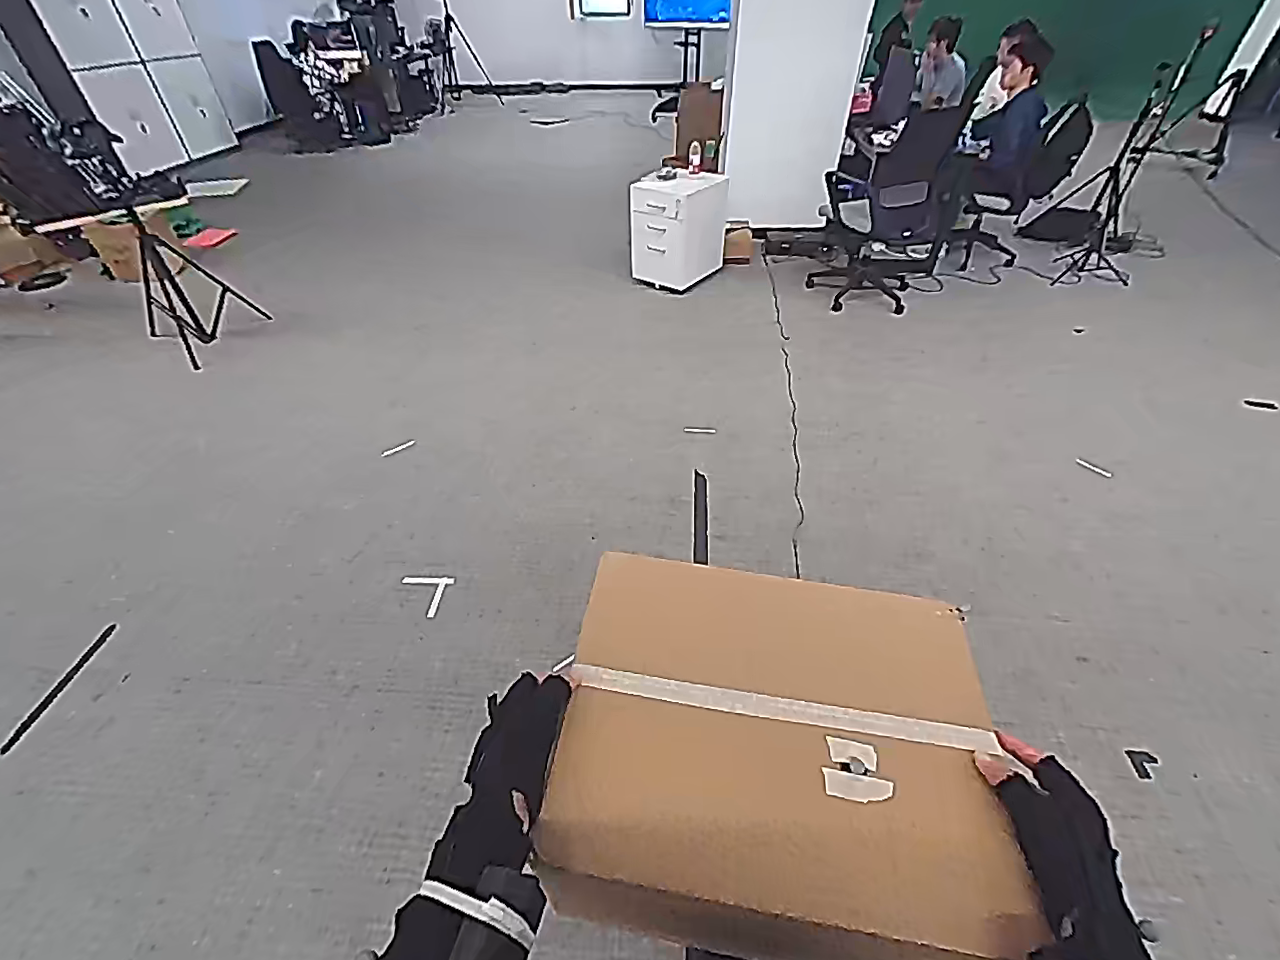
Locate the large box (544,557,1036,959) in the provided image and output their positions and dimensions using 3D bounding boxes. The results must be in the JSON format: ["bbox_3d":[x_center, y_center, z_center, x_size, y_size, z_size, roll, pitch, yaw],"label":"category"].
[{"bbox_3d":[0.130,0.327,0.642,0.408,0.320,0.320,8,46,6],"label":"large box"}]
